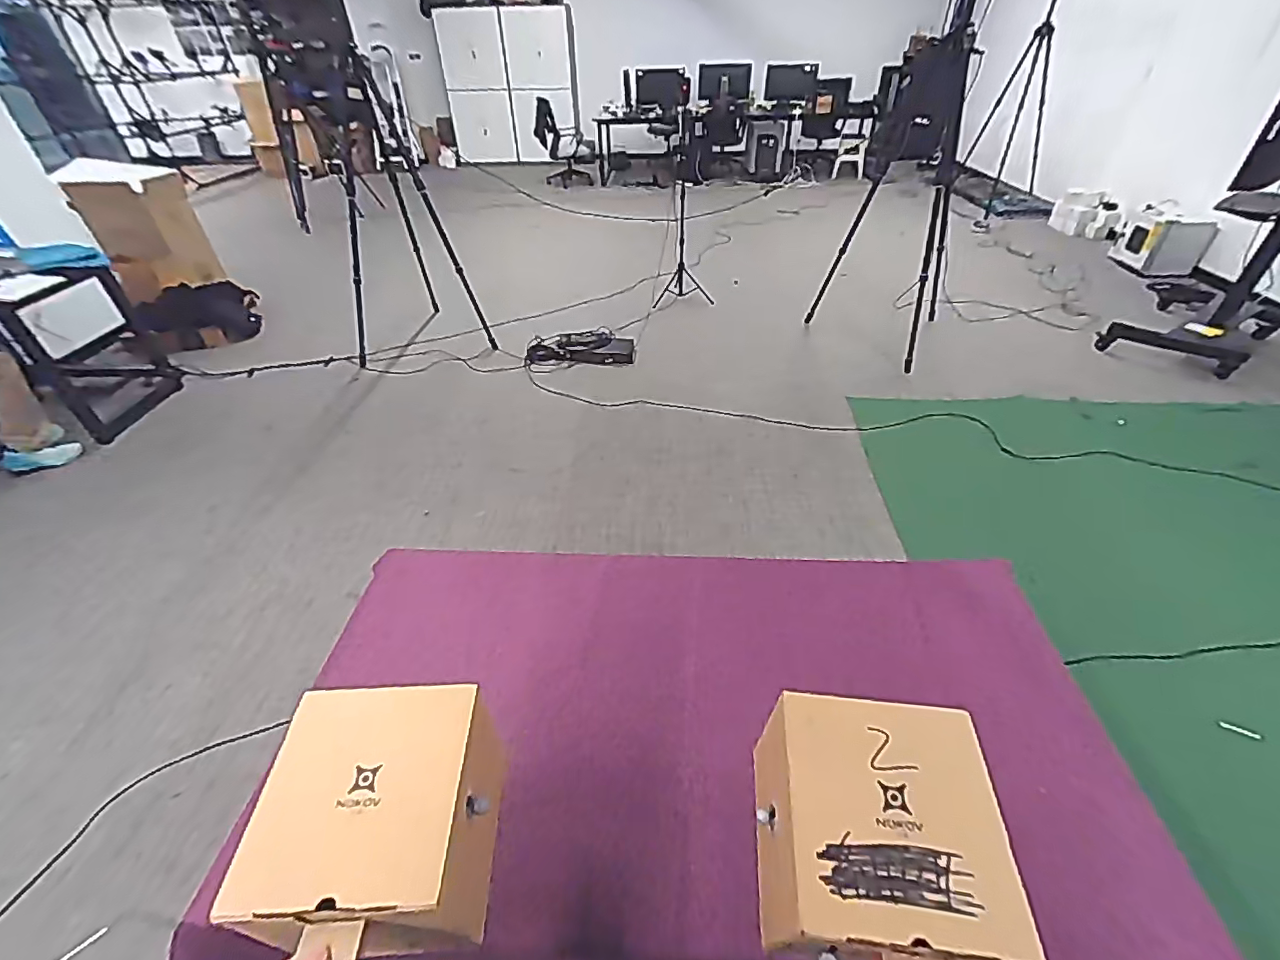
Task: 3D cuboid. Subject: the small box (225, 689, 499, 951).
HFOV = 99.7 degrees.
[{"bbox_3d":[-0.239,0.326,0.525,0.168,0.176,0.179,-2,43,-3],"label":"small box"}]
